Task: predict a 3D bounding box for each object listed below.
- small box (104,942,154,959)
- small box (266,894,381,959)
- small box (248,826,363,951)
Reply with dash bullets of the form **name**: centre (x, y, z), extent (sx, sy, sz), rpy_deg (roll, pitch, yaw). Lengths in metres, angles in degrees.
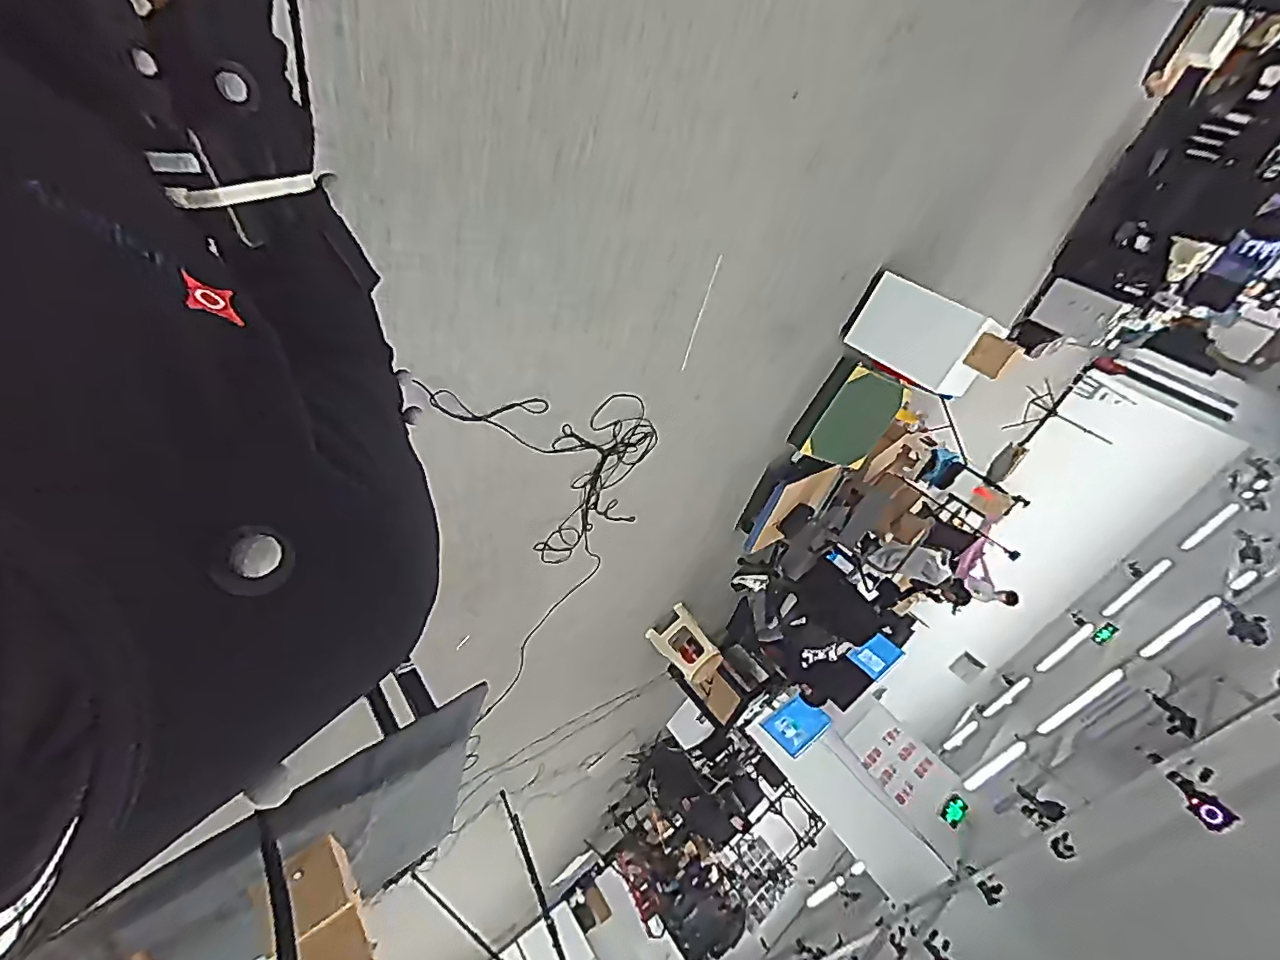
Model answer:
- **small box**: centre (-1.040, 1.047, 1.037), extent (0.168, 0.176, 0.179), rpy_deg (-16, 138, -41)
- **small box**: centre (-0.673, 1.052, 1.170), extent (0.179, 0.176, 0.168), rpy_deg (-20, 140, -35)
- **small box**: centre (-0.767, 0.942, 1.245), extent (0.168, 0.176, 0.179), rpy_deg (-24, 143, -32)
